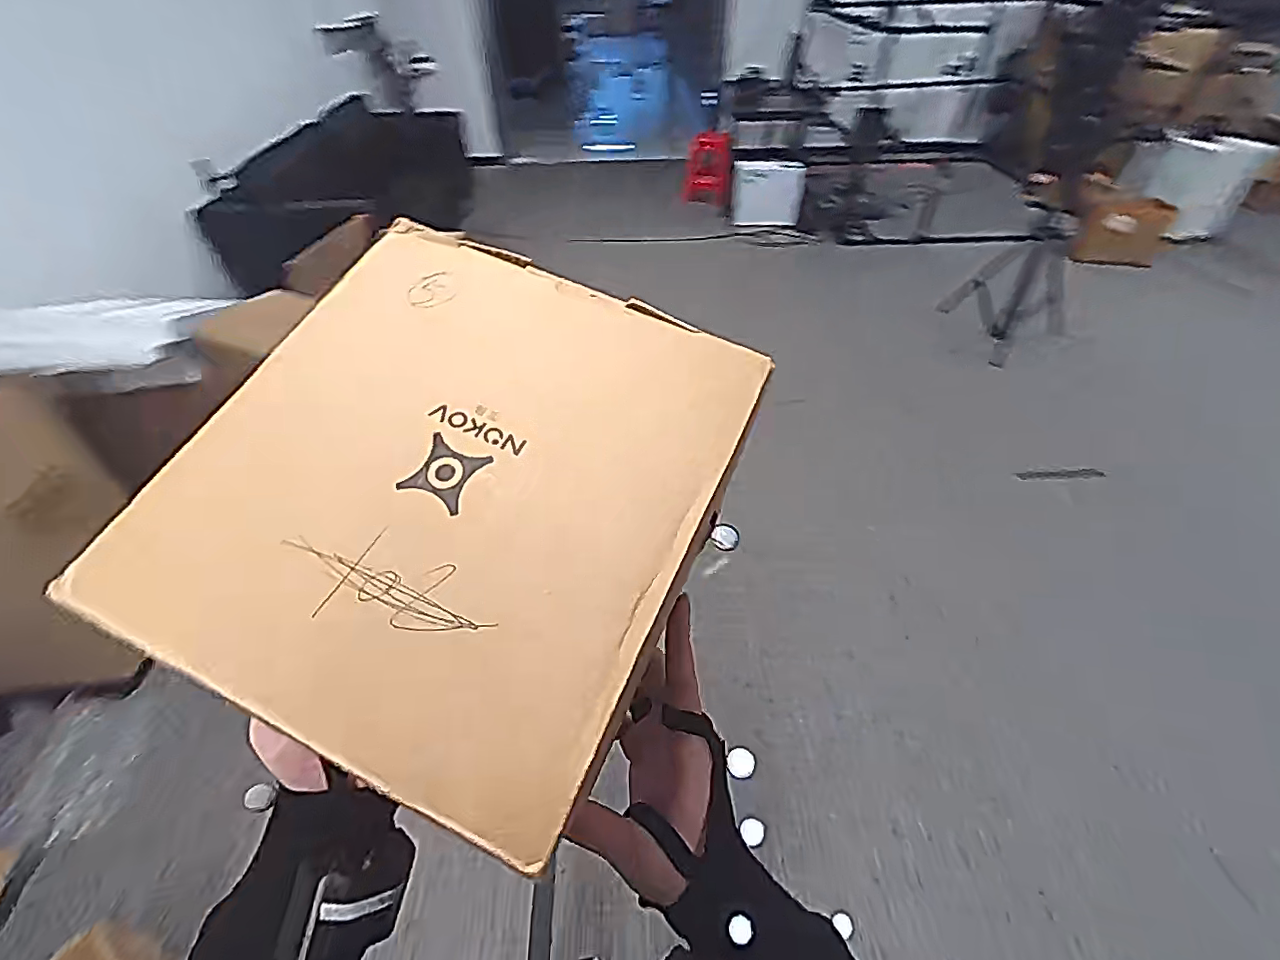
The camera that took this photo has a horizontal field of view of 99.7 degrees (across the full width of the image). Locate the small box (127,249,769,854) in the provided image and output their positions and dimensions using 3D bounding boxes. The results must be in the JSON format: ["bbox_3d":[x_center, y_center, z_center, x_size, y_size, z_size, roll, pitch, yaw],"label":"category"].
[{"bbox_3d":[-0.059,0.033,0.265,0.168,0.176,0.179,23,68,10],"label":"small box"}]
